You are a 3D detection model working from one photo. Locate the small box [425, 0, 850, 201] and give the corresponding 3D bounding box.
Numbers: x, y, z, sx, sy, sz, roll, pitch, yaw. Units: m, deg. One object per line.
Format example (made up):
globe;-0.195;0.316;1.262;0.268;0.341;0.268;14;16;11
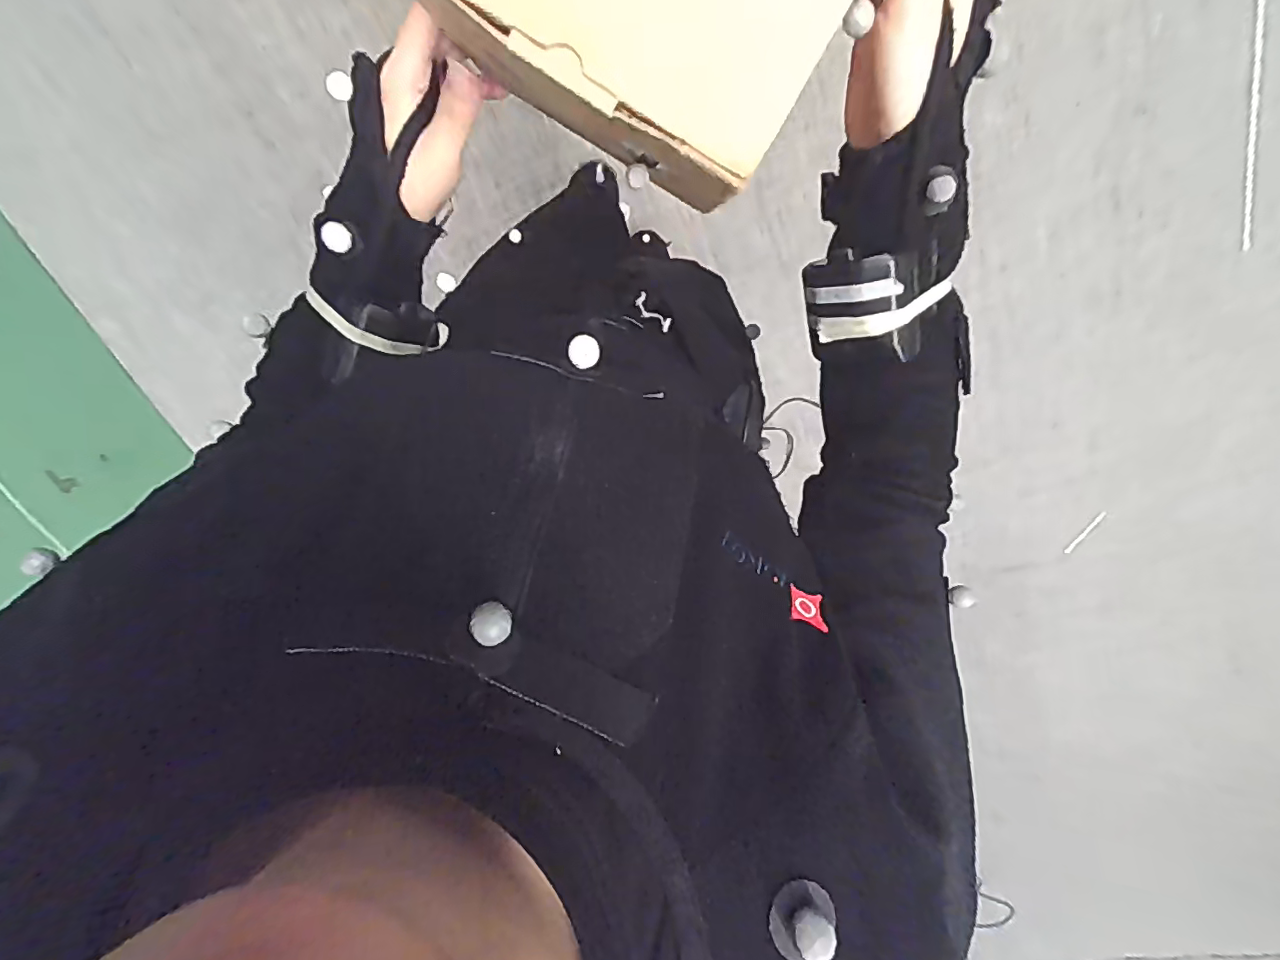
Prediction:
small box;0.015;-0.252;0.244;0.168;0.176;0.179;27;110;-11
